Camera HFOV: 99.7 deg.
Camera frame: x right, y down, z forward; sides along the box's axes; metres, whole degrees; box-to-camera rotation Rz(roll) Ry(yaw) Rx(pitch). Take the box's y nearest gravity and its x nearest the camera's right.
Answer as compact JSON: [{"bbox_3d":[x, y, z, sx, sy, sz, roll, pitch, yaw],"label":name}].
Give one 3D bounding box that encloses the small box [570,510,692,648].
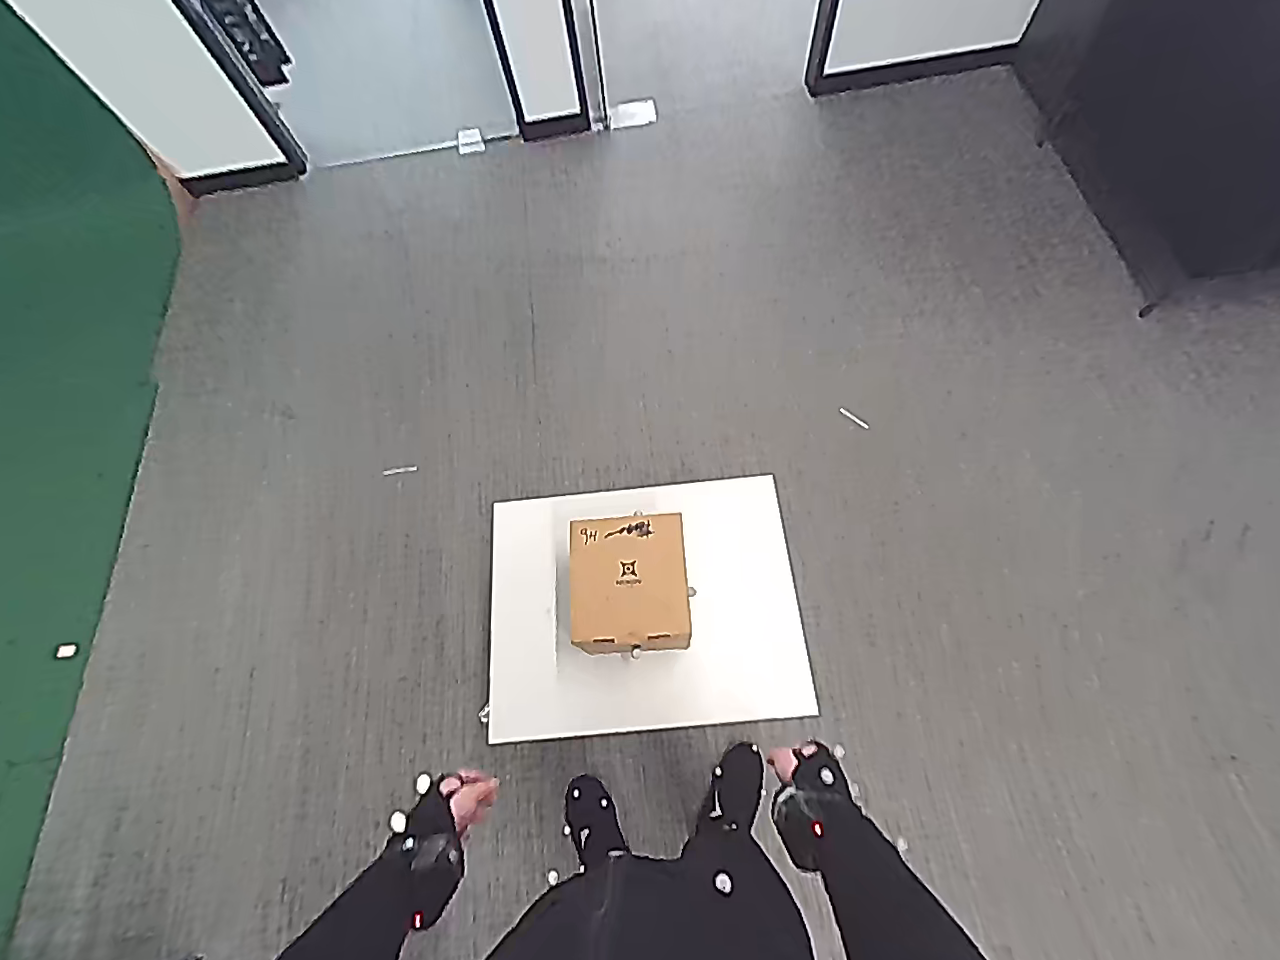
[{"bbox_3d":[-0.009,0.160,0.833,0.168,0.176,0.179,-6,67,2],"label":"small box"}]
